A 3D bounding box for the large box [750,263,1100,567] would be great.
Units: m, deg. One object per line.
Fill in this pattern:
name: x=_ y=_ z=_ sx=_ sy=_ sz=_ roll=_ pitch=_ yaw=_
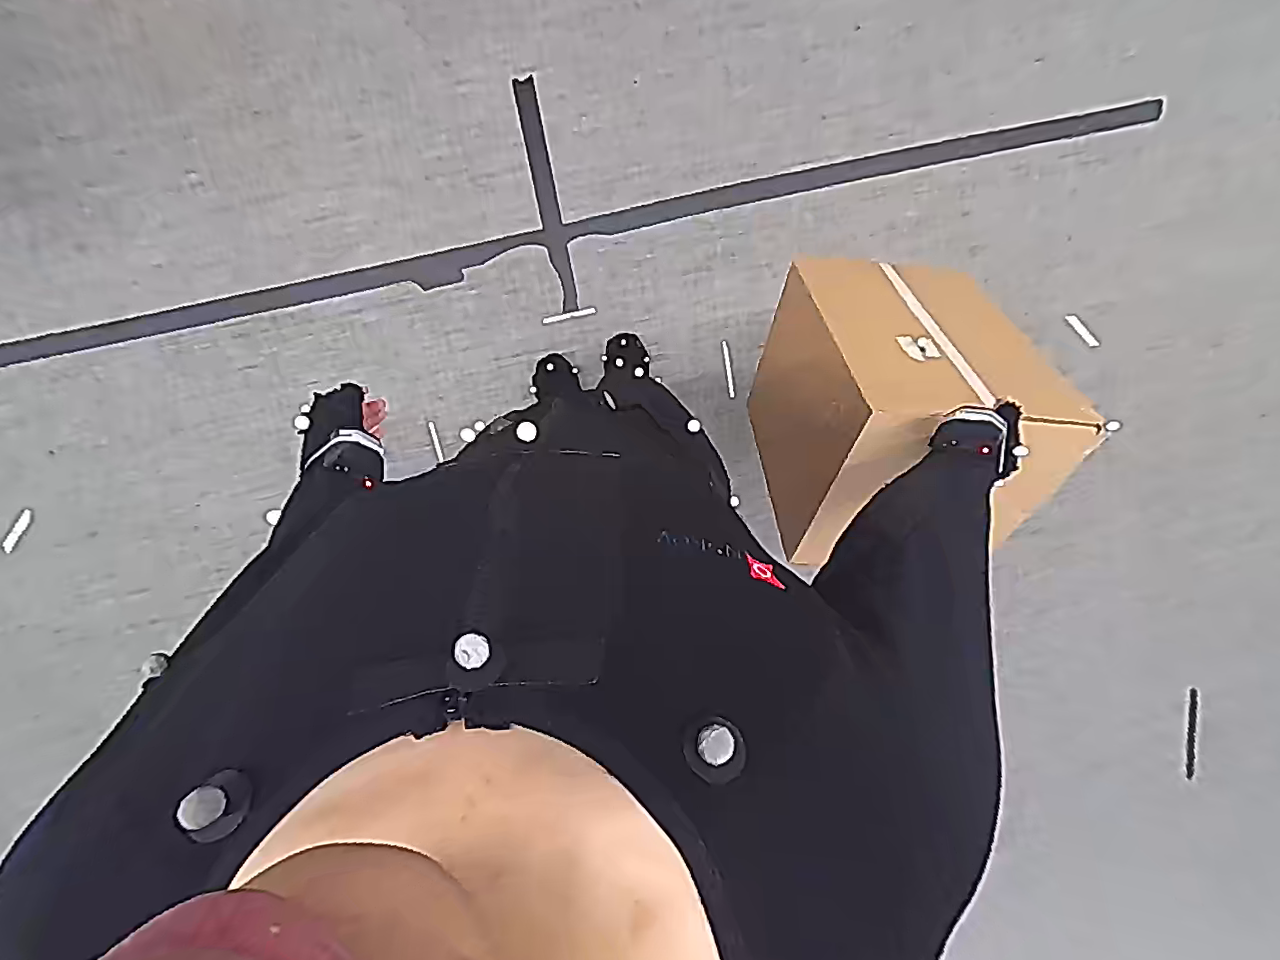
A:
large box: x=0.403 y=-0.110 z=0.904 sx=0.320 sy=0.408 sz=0.320 roll=3 pitch=138 yaw=-6
